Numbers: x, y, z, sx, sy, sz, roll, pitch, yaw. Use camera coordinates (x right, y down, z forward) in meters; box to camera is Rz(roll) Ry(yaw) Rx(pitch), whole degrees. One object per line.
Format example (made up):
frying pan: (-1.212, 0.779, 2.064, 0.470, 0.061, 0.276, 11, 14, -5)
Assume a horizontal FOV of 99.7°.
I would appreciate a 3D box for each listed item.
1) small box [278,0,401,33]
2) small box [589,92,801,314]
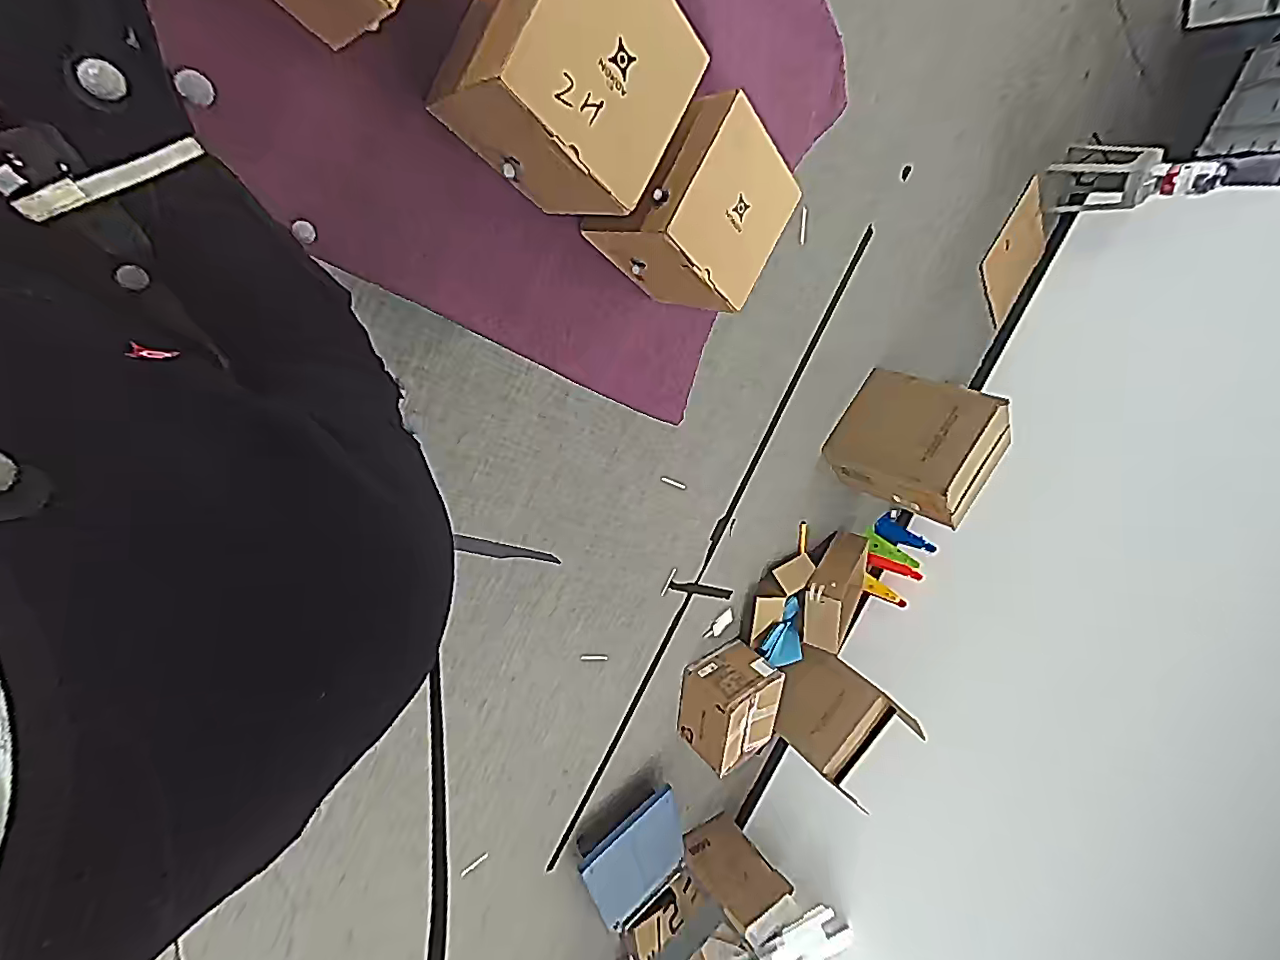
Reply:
small box: (-0.233, -0.446, 0.358, 0.179, 0.176, 0.168, 25, 94, -46)
small box: (0.065, -0.340, 0.684, 0.168, 0.176, 0.179, 26, 93, -46)
